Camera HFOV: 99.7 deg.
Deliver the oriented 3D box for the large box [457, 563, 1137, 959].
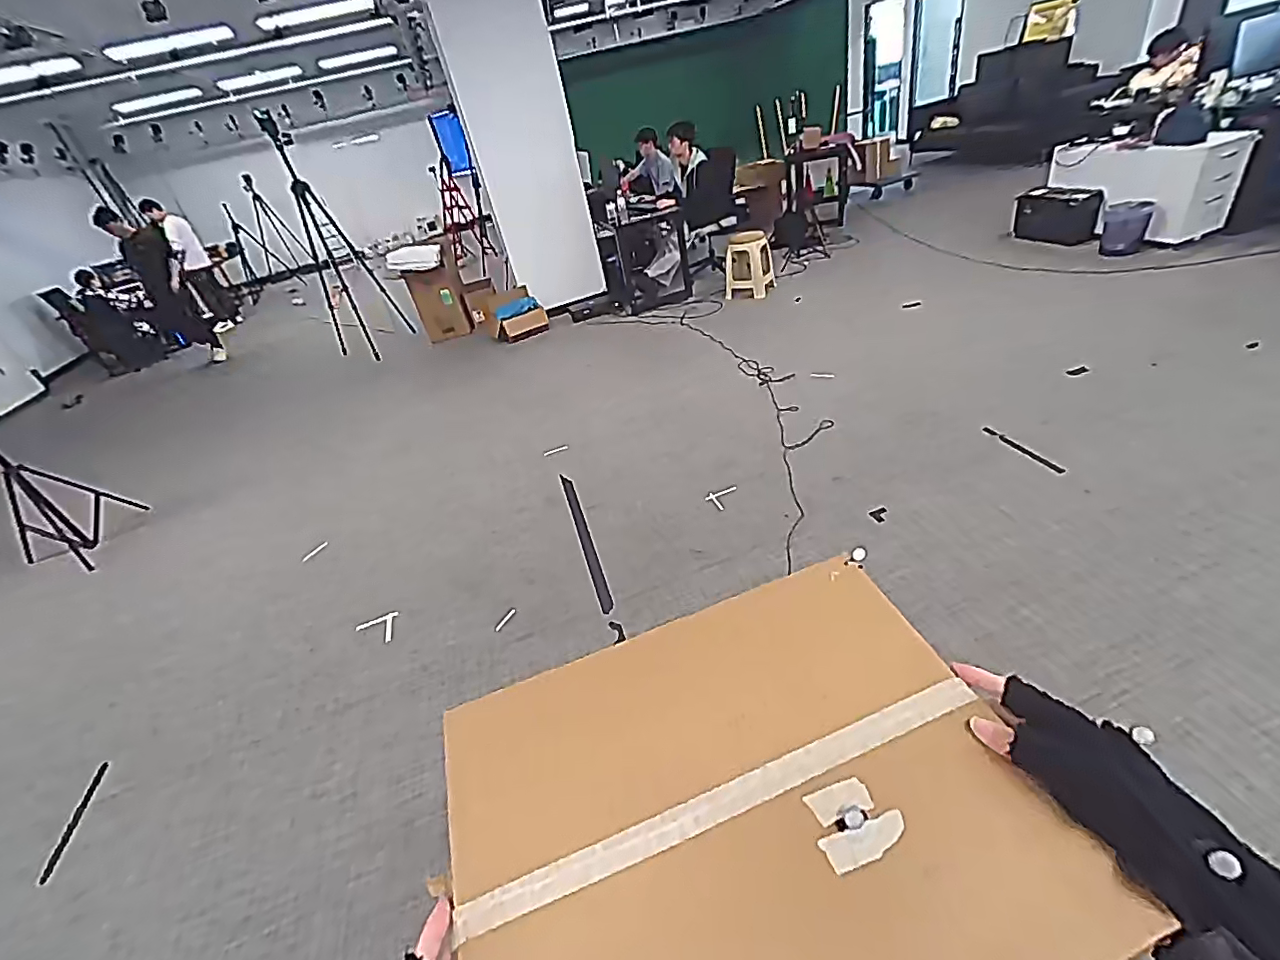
[{"bbox_3d":[0.091,0.348,0.499,0.408,0.320,0.320,-19,42,-10],"label":"large box"}]
